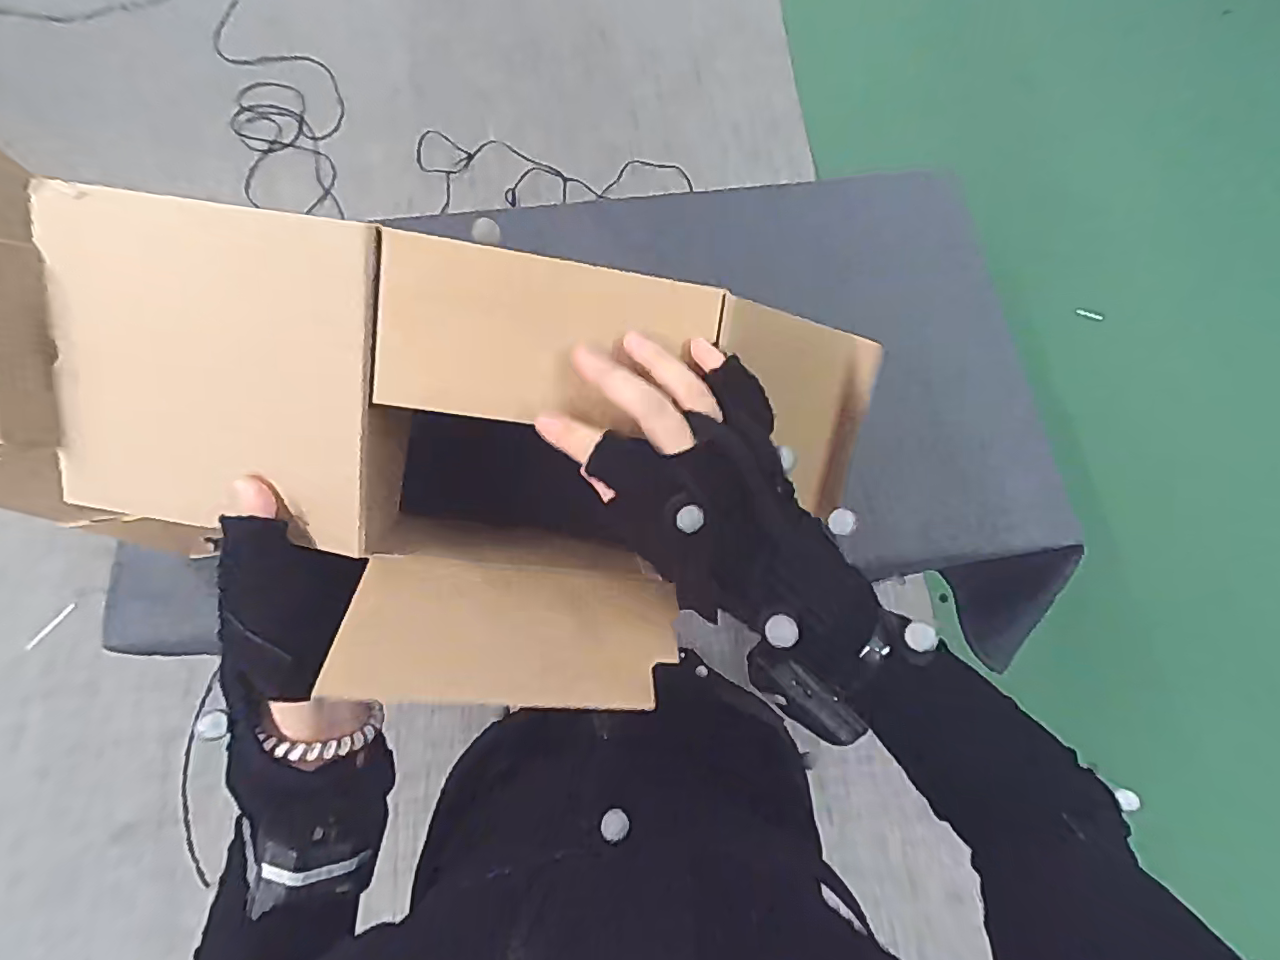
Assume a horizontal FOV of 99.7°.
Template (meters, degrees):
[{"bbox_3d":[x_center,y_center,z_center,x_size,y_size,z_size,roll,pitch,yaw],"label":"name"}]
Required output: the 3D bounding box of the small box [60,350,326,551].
[{"bbox_3d":[-0.492,-0.026,0.629,0.168,0.176,0.179,-8,73,-3],"label":"small box"}]
